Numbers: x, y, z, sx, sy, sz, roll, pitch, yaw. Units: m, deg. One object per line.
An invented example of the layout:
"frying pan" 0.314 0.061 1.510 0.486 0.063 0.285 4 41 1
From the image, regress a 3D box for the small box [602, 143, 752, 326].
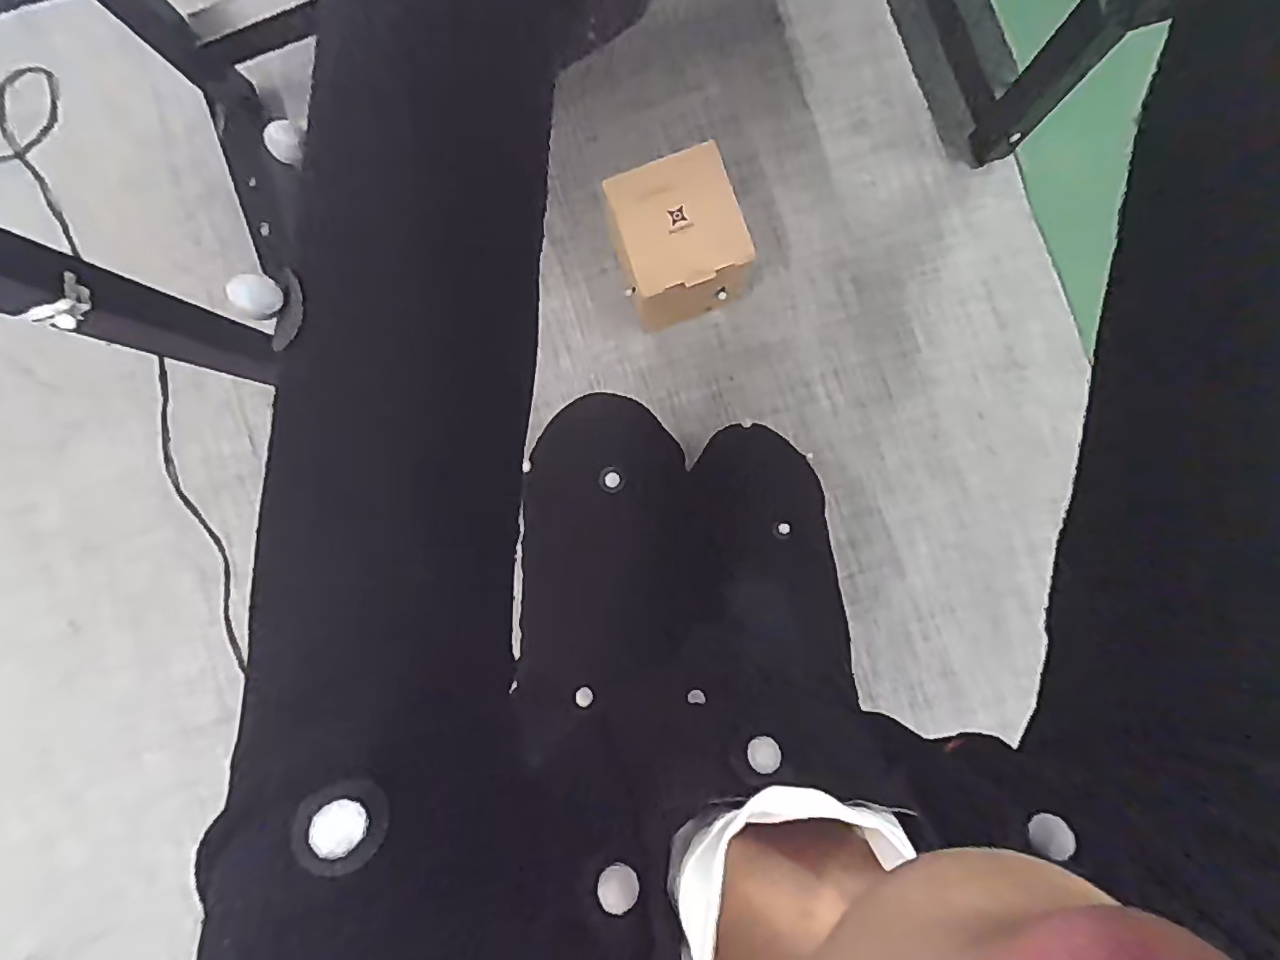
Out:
"small box" 0.055 -0.350 0.815 0.168 0.176 0.179 -20 86 2
